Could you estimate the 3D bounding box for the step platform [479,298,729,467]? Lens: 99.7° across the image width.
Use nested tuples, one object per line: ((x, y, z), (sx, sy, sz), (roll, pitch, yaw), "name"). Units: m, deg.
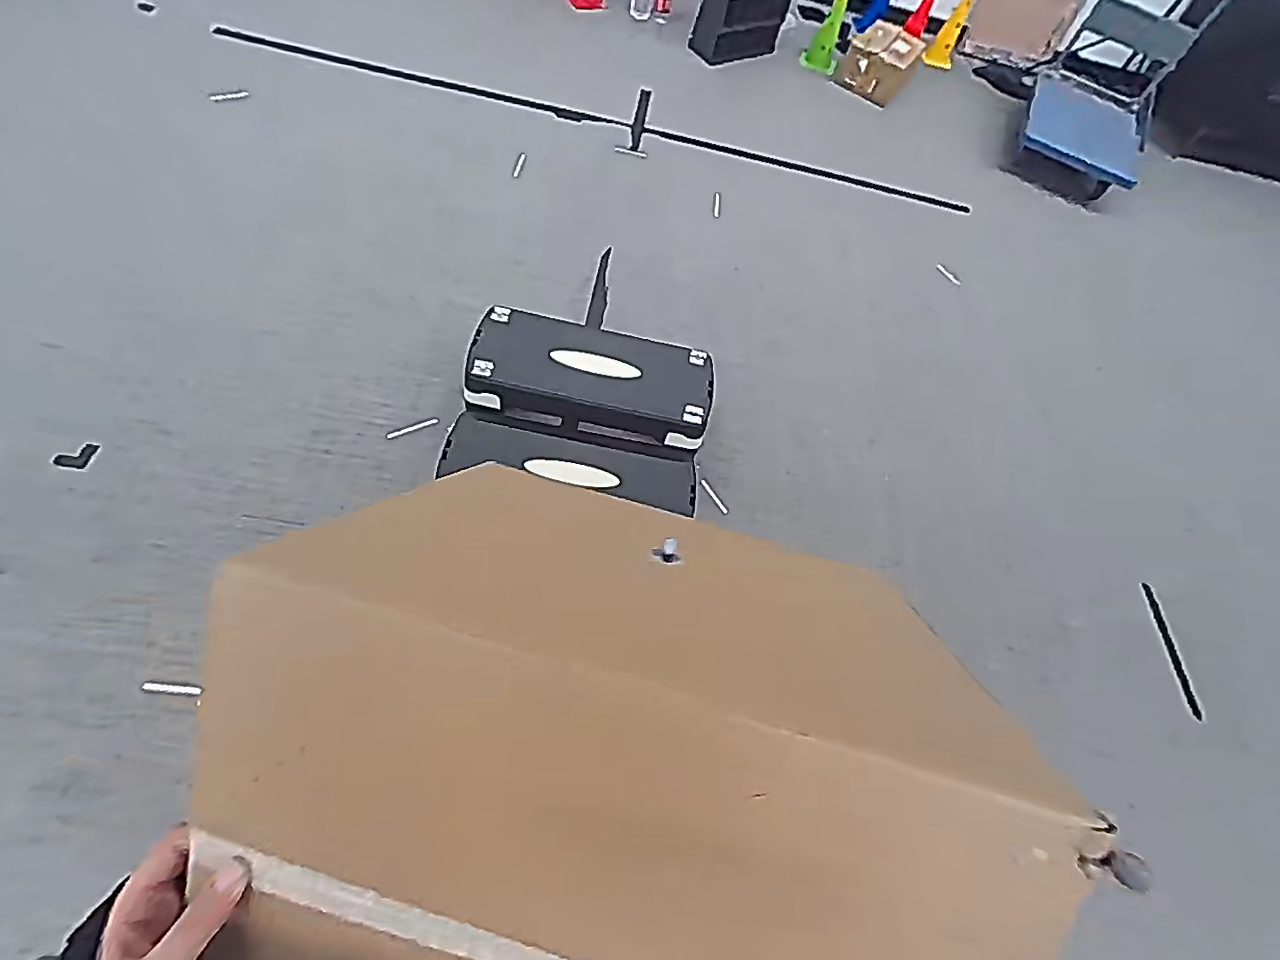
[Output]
((-0.095, -0.277, 1.537), (0.684, 0.204, 0.286), (17, 60, -3), "step platform")
